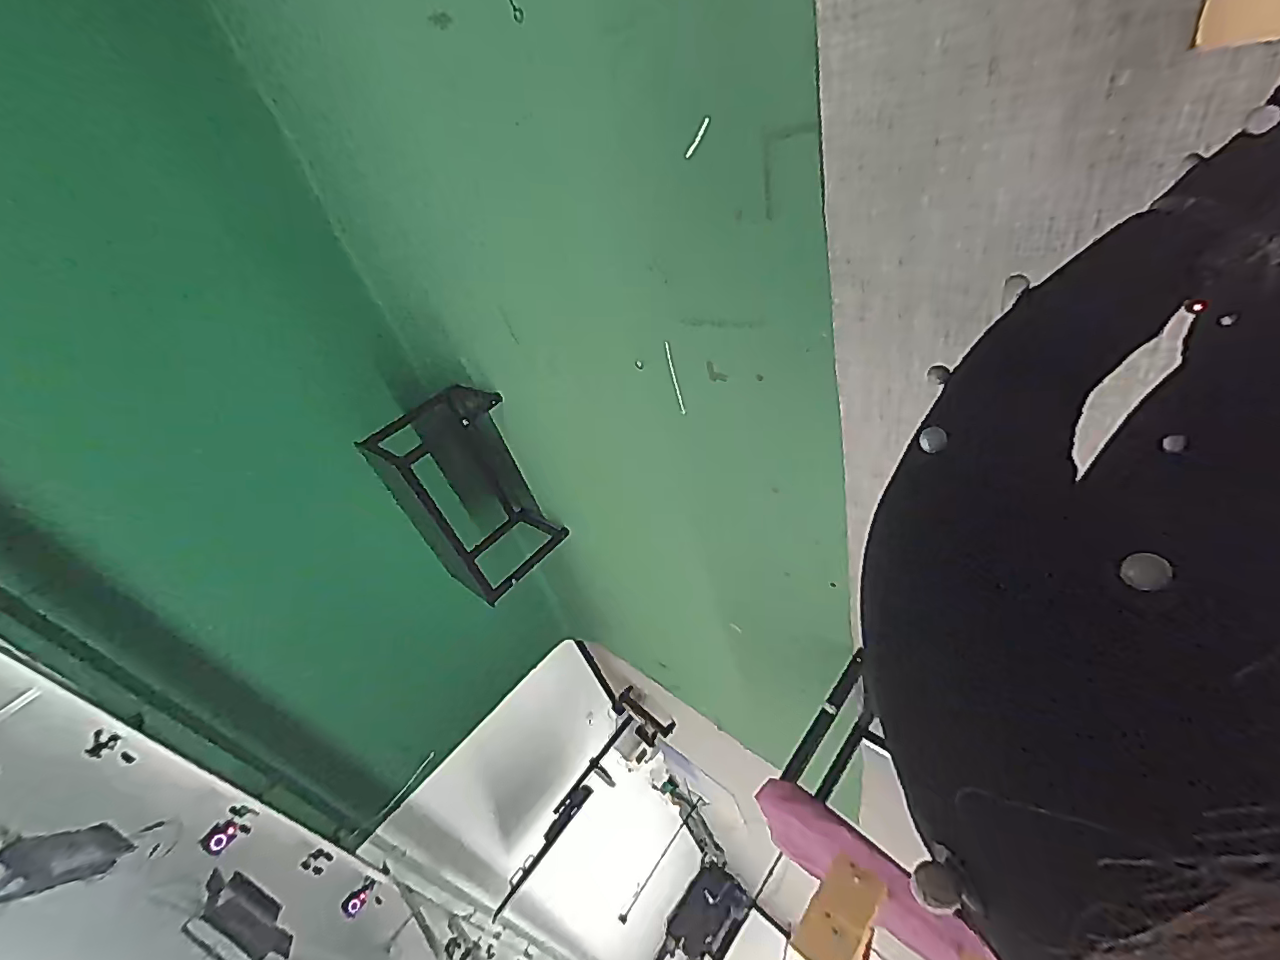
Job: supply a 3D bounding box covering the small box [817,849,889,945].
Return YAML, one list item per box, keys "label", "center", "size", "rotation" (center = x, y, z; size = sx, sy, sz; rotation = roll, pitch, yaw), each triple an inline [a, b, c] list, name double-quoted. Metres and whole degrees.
- label: "small box"
  center: [0.700, 1.366, 1.773]
  size: [0.168, 0.176, 0.179]
  rotation: [20, 141, 40]

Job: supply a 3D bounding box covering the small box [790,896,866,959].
- label: "small box"
  center: [0.596, 1.467, 1.700]
  size: [0.168, 0.176, 0.179]
  rotation: [19, 141, 41]
